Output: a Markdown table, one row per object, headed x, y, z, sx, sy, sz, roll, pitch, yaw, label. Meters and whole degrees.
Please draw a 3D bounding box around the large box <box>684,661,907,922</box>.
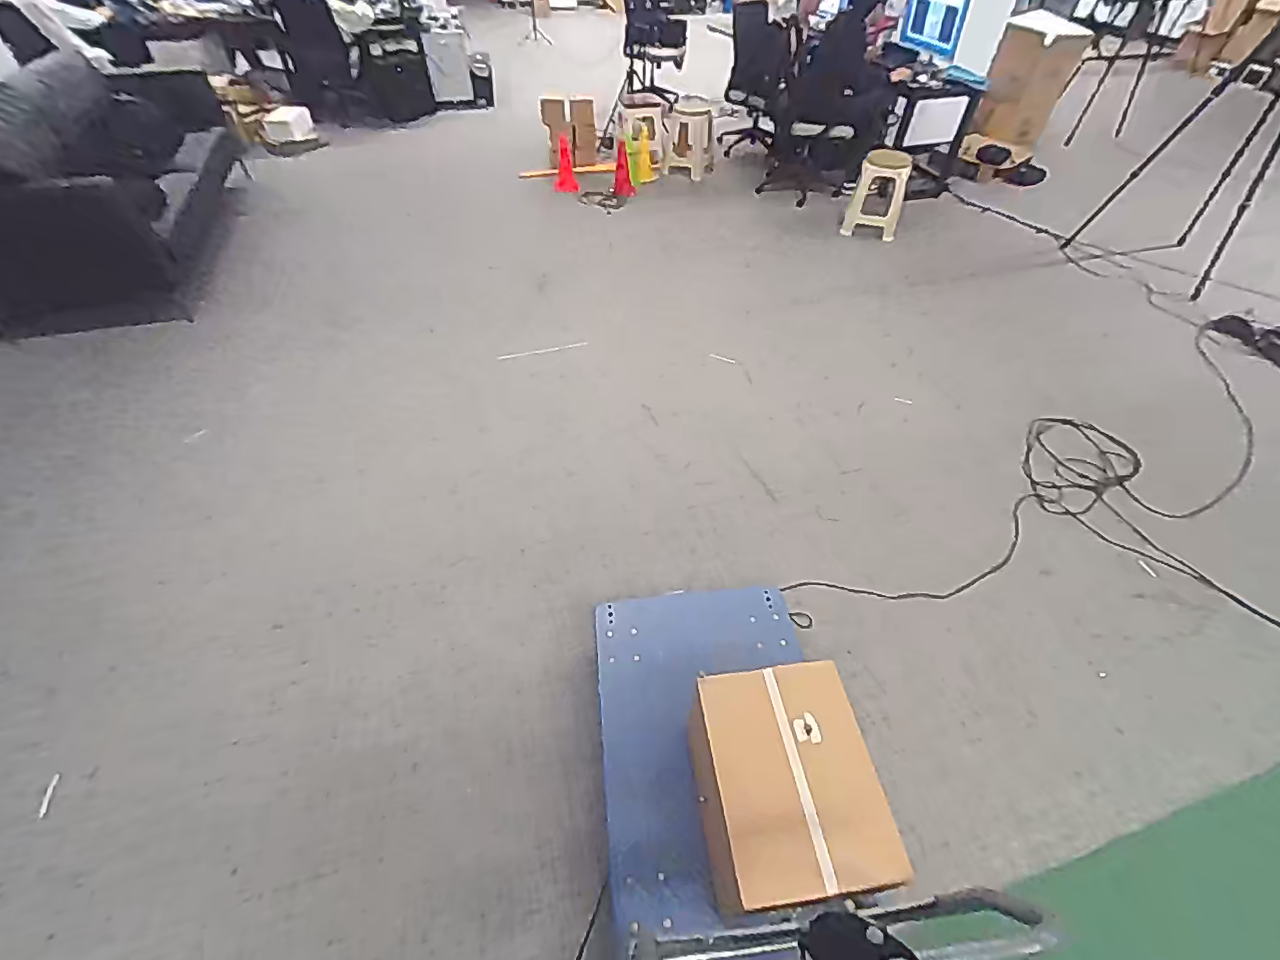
| x | y | z | sx | sy | sz | roll | pitch | yaw | label |
| --- | --- | --- | --- | --- | --- | --- | --- | --- | --- |
| 0.287 | 0.661 | 1.162 | 0.320 | 0.320 | 0.408 | -4 | 48 | -6 | large box |
